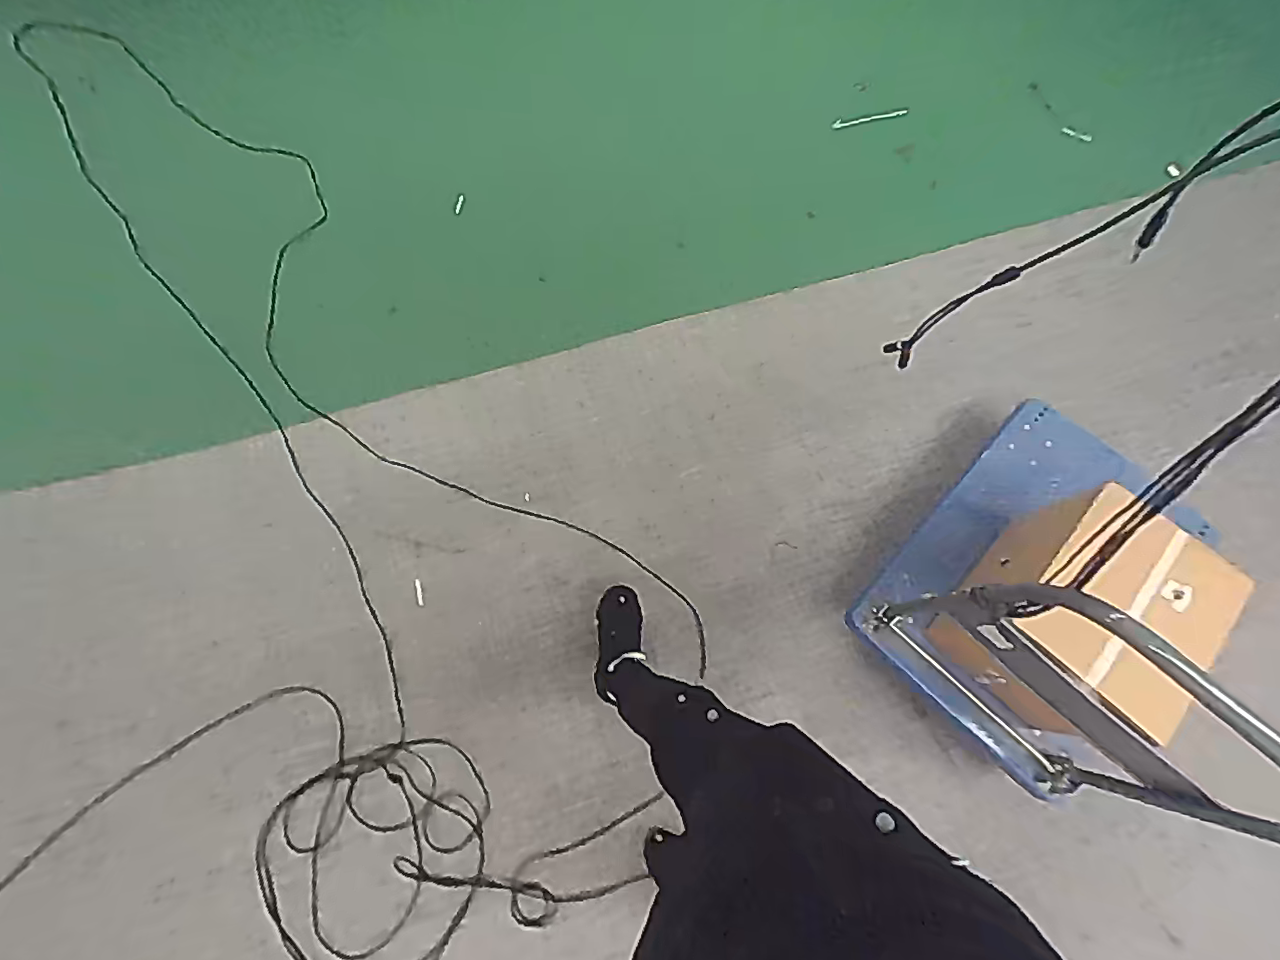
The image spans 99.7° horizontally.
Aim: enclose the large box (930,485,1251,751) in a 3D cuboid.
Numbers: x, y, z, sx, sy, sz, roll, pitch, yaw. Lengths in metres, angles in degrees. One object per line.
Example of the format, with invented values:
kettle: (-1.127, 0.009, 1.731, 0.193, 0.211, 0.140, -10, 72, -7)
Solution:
large box: (0.923, 0.293, 1.155, 0.320, 0.320, 0.408, 43, 74, 12)
